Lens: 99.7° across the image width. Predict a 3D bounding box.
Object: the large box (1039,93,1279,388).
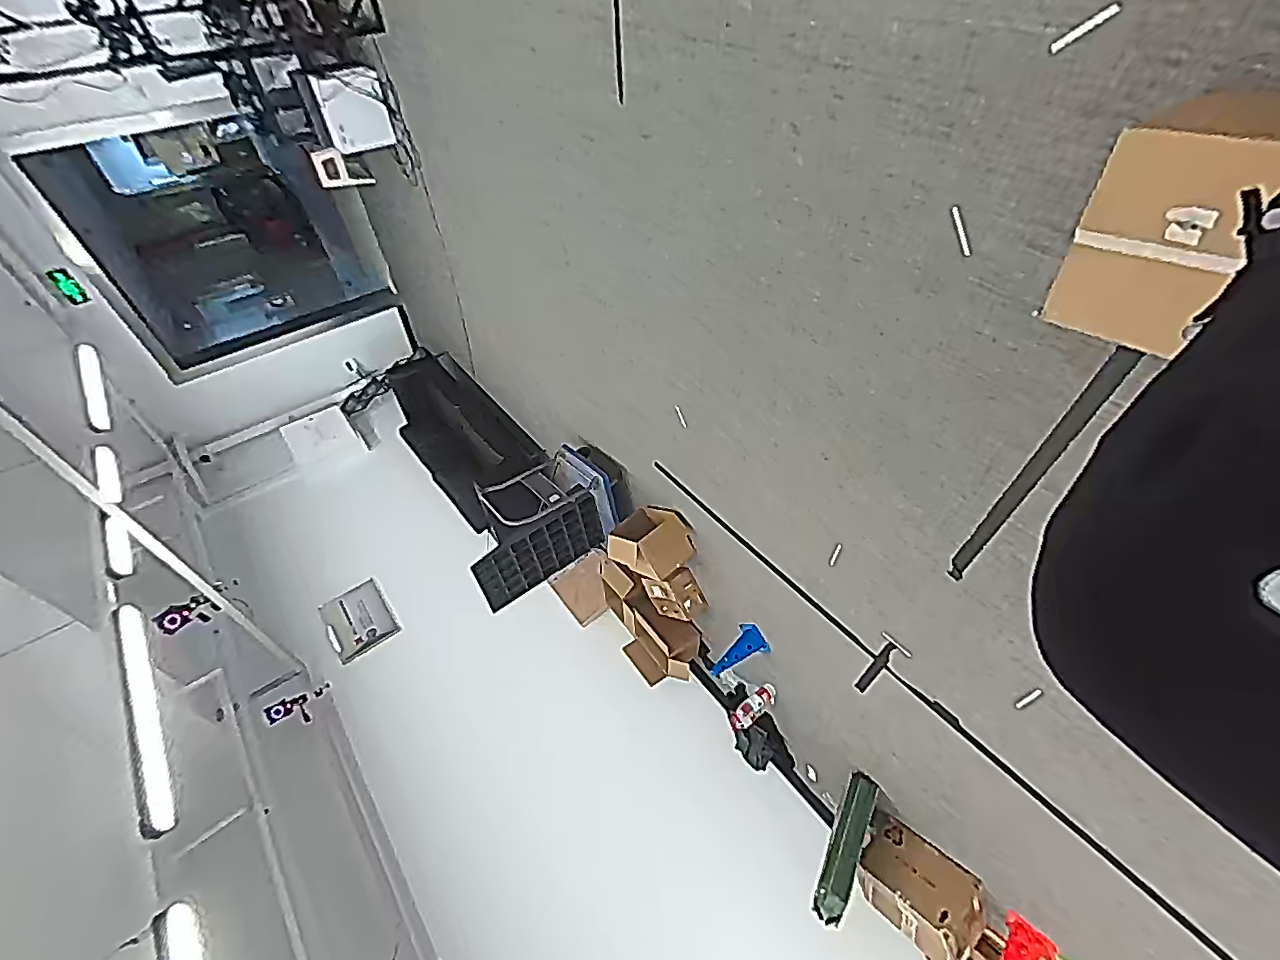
[{"bbox_3d":[0.975,-0.390,0.852,0.408,0.320,0.320,41,149,38],"label":"large box"}]
